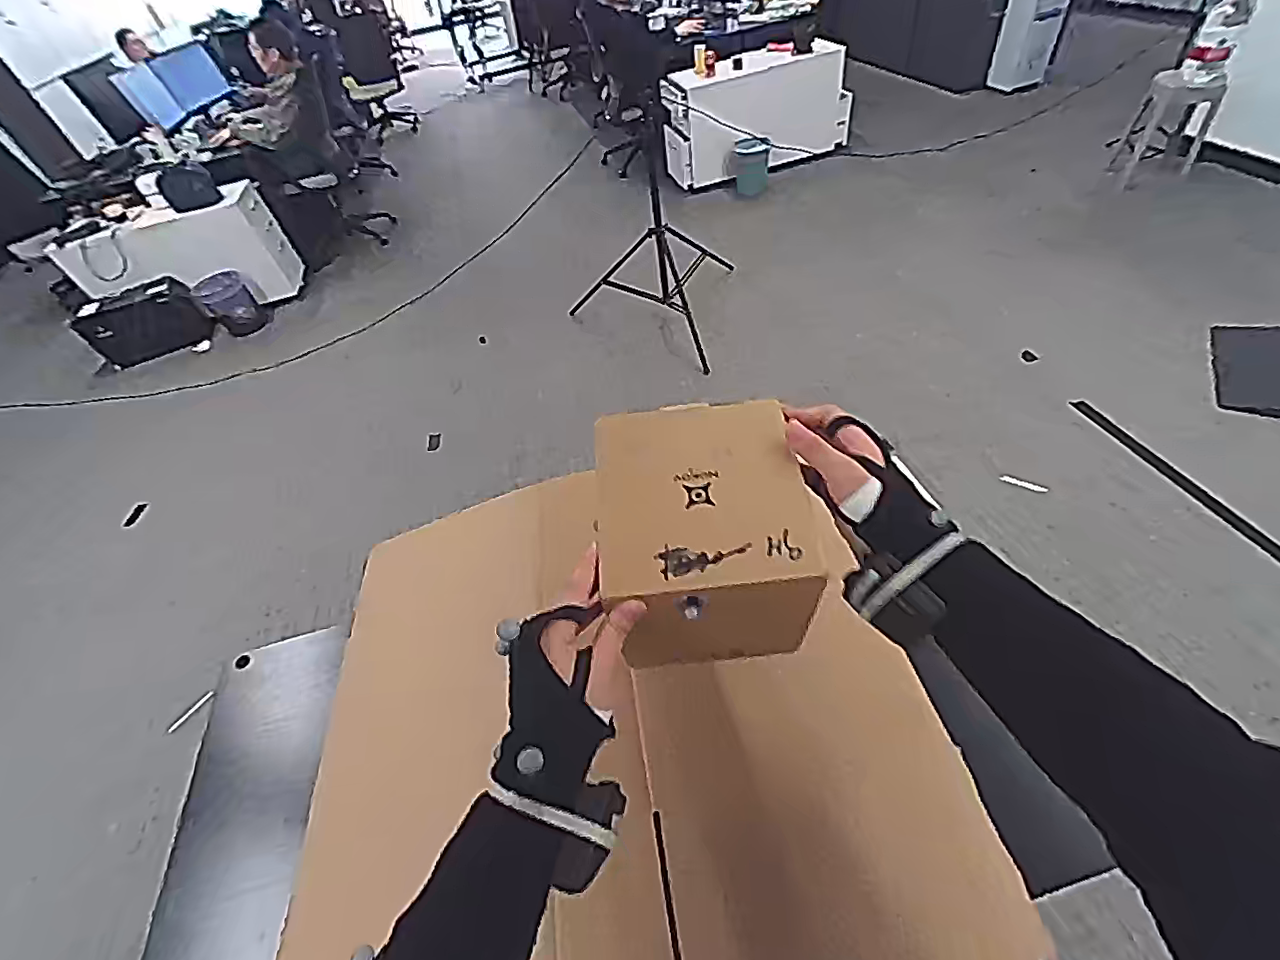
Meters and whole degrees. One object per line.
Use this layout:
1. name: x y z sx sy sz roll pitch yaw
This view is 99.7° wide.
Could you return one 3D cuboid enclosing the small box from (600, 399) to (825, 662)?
1. small box: 0.055 0.051 0.504 0.168 0.176 0.179 -7 53 3
